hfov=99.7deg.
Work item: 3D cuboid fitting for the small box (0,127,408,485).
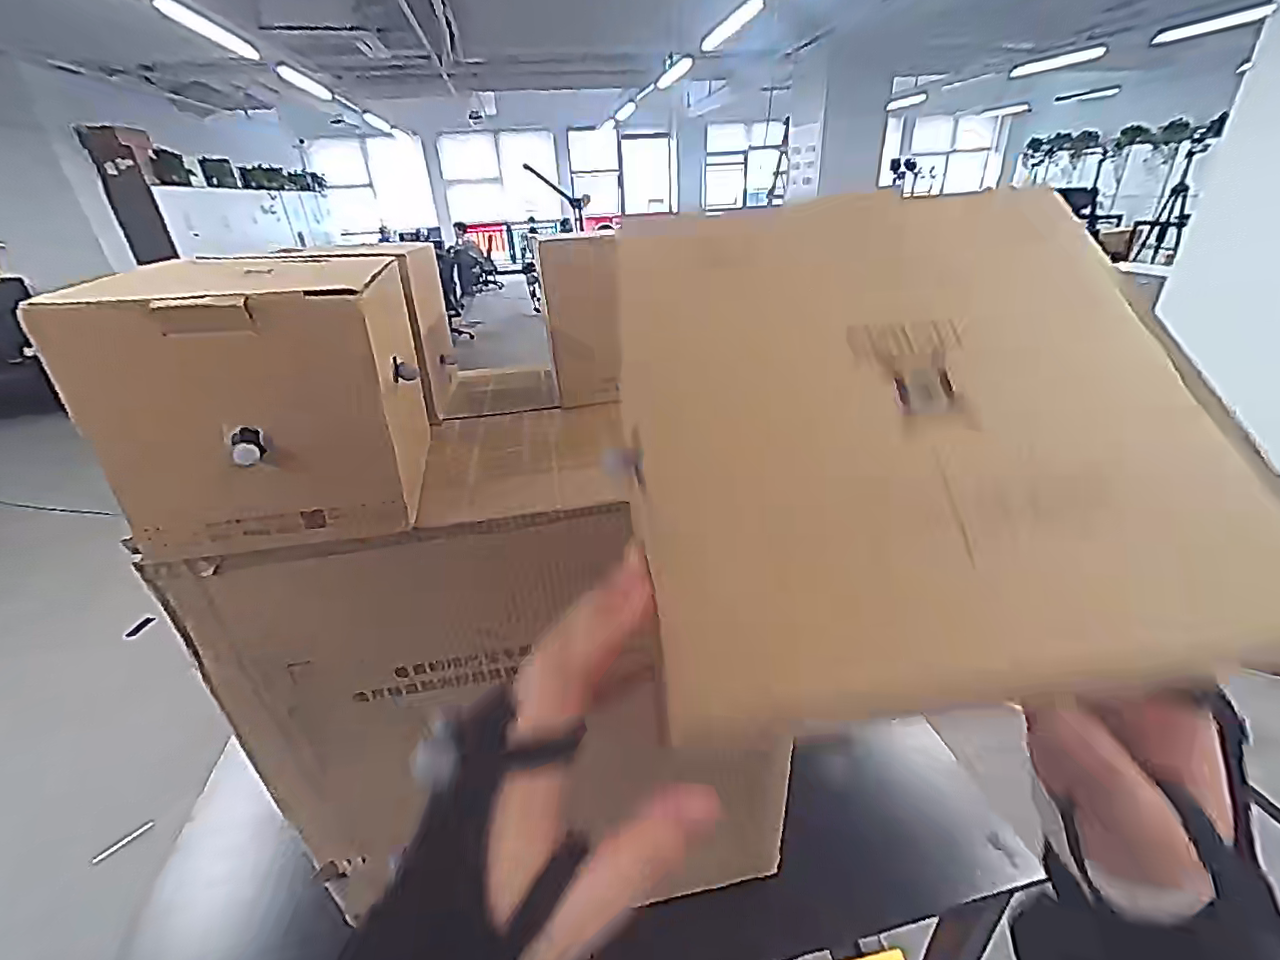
[{"bbox_3d":[-0.245,-0.106,0.322,0.168,0.176,0.179,-7,31,-14],"label":"small box"}]

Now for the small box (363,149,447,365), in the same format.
[{"bbox_3d":[-0.293,-0.197,0.499,0.179,0.176,0.168,-6,28,-9],"label":"small box"}]

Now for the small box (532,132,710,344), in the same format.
[{"bbox_3d":[-0.015,-0.242,0.552,0.168,0.176,0.179,-10,27,-9],"label":"small box"}]
